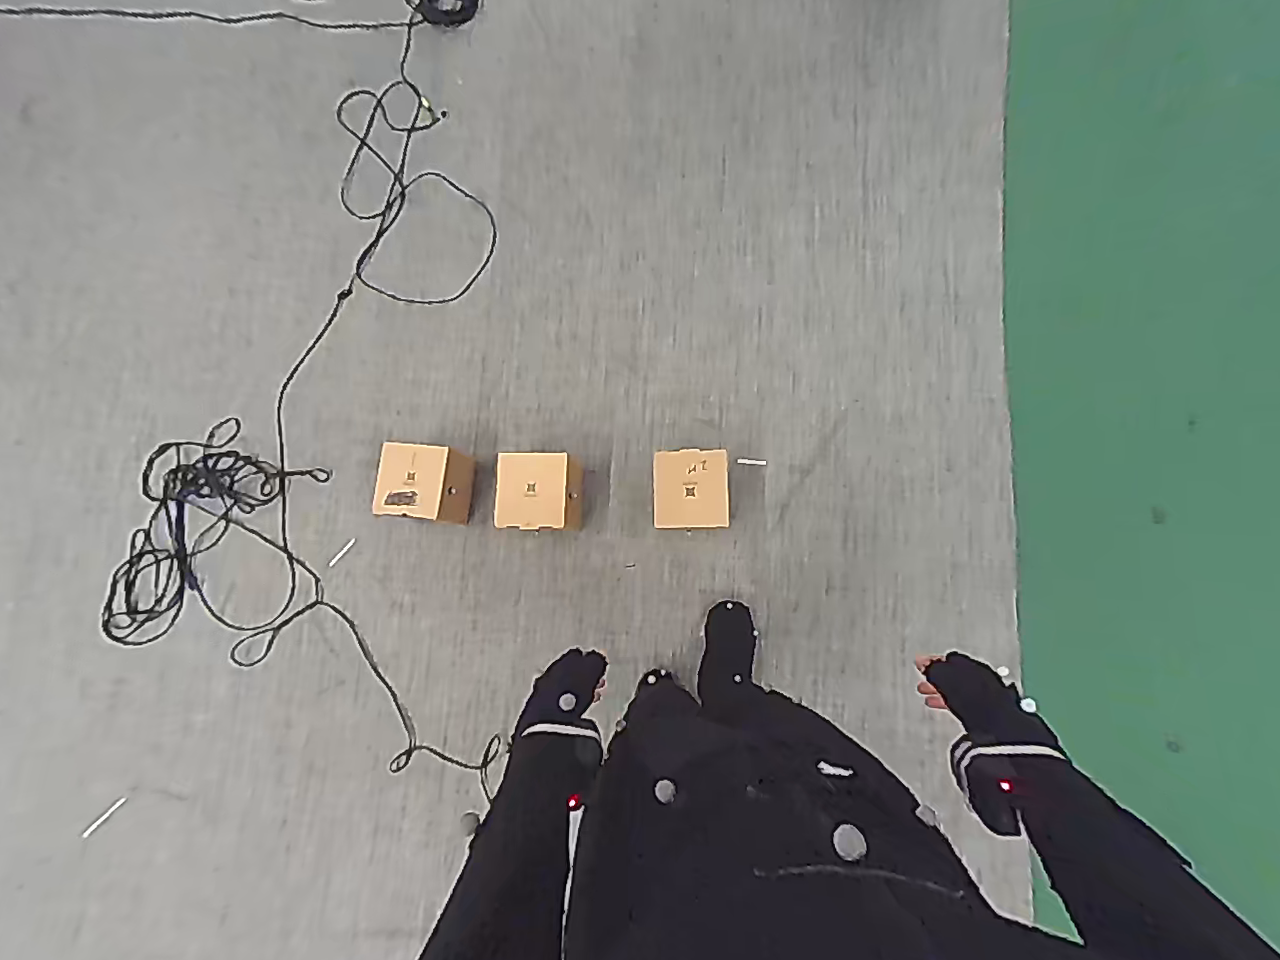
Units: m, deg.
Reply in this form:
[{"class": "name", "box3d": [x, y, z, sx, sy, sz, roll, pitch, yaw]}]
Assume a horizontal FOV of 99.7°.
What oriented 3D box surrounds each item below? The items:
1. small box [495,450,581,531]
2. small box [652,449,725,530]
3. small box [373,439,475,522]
[{"class": "small box", "box3d": [-0.242, 0.030, 1.321, 0.168, 0.176, 0.179, 0, 82, 6]}, {"class": "small box", "box3d": [0.116, 0.028, 1.284, 0.168, 0.176, 0.179, -1, 81, 5]}, {"class": "small box", "box3d": [-0.530, 0.008, 1.352, 0.168, 0.176, 0.179, 6, 81, 7]}]
